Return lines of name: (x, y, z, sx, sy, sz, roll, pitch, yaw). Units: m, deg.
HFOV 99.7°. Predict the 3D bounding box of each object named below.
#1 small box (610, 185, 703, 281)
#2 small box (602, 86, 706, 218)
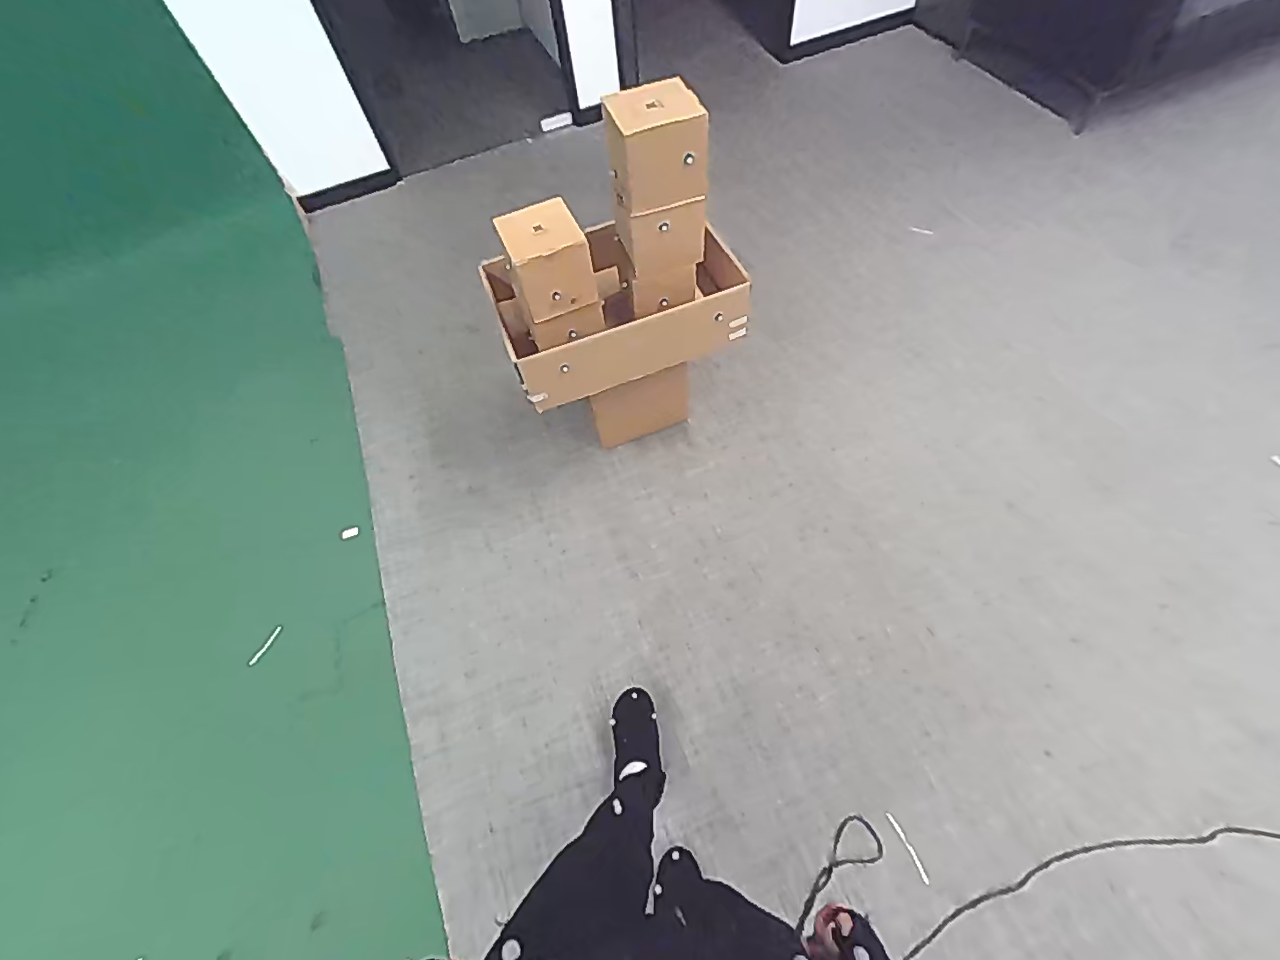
small box: (0.042, -0.605, 1.291, 0.179, 0.176, 0.168, -18, 60, -6)
small box: (0.030, -0.697, 1.157, 0.179, 0.176, 0.168, -18, 59, -5)
